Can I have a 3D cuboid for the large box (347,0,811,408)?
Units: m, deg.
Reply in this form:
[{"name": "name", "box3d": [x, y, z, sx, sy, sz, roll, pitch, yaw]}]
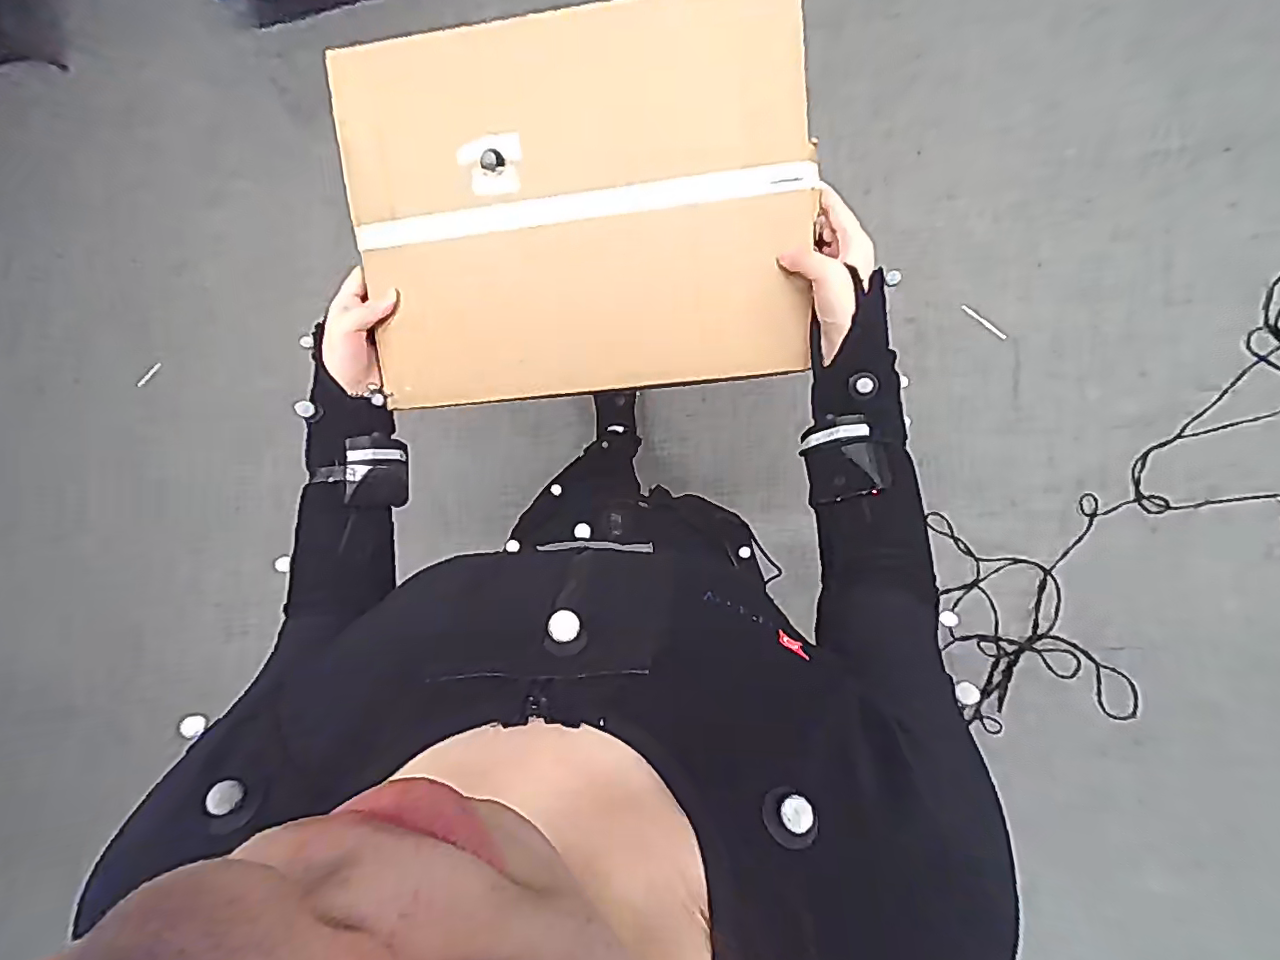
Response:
[{"name": "large box", "box3d": [-0.038, -0.267, 0.635, 0.408, 0.320, 0.320, -5, 99, 8]}]
